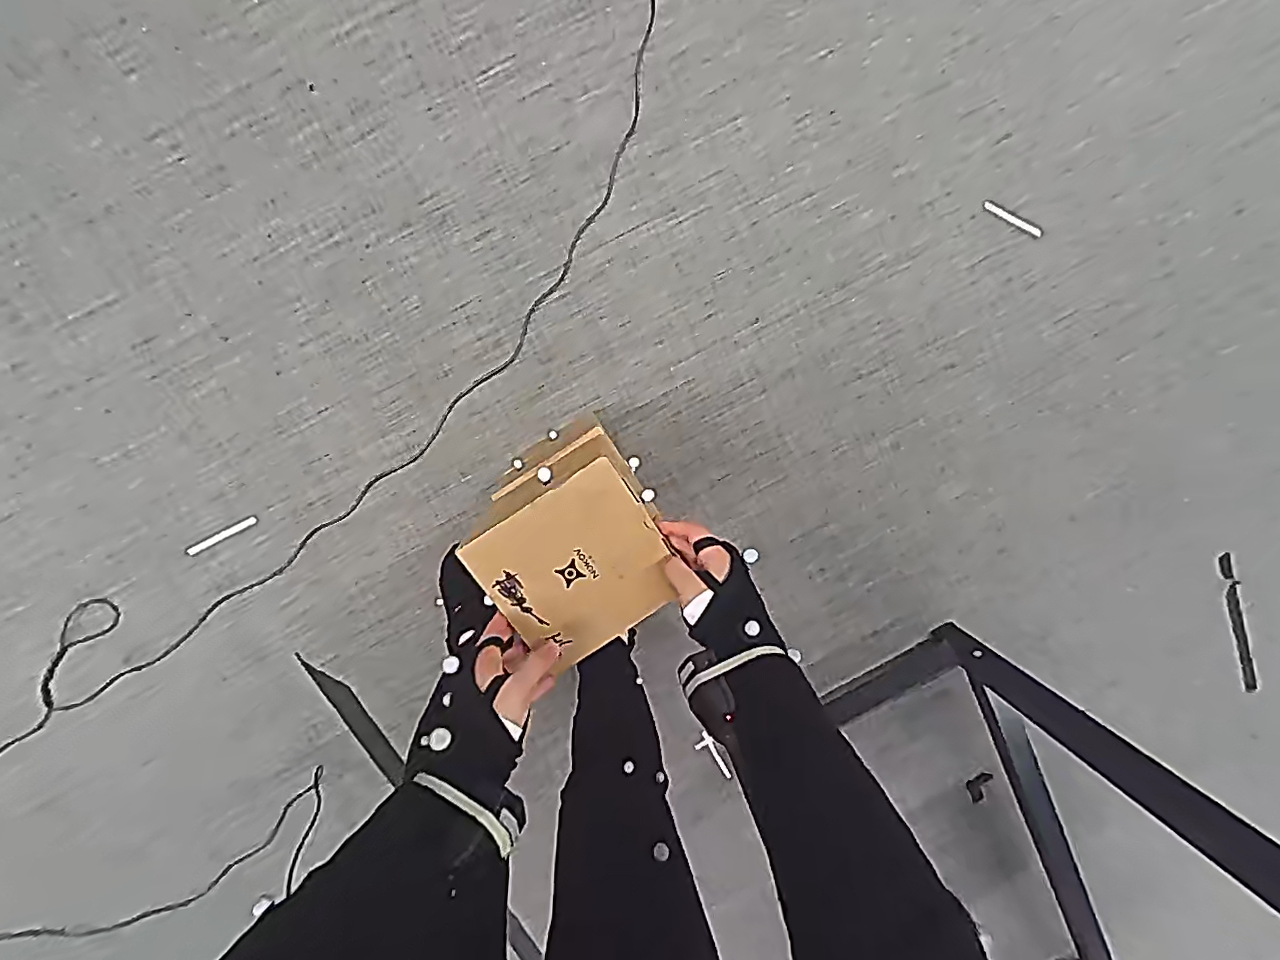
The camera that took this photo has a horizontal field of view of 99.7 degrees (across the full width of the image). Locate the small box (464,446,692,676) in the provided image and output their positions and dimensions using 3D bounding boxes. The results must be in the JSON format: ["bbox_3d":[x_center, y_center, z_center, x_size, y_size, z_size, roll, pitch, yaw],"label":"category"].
[{"bbox_3d":[-0.070,0.076,0.616,0.179,0.176,0.168,-34,102,-1],"label":"small box"}]

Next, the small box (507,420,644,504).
[{"bbox_3d":[-0.116,0.005,0.971,0.179,0.176,0.168,-31,103,0],"label":"small box"}]
